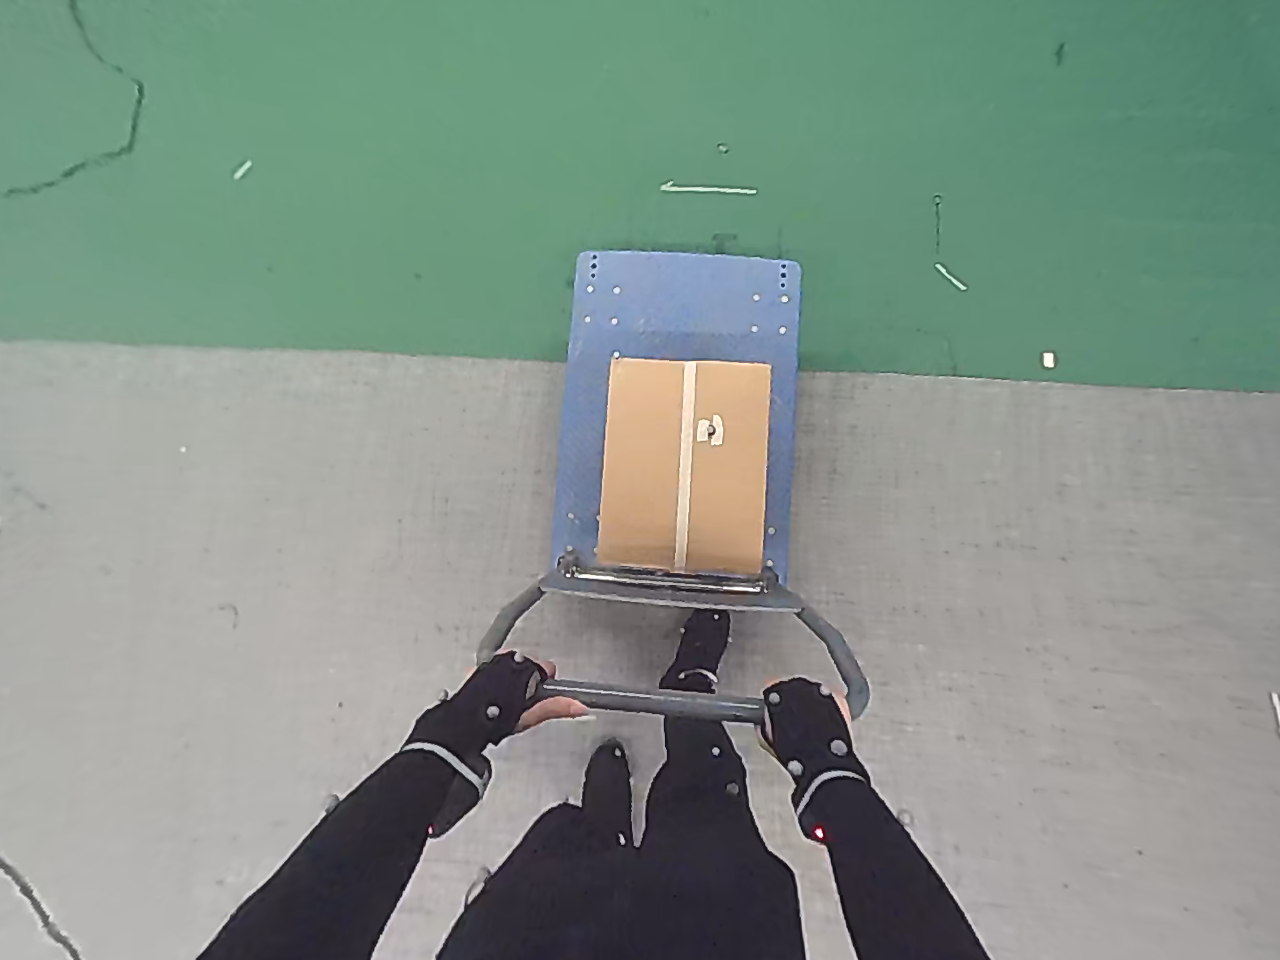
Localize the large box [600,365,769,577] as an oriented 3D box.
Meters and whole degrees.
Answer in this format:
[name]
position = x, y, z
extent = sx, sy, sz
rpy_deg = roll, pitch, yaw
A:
[large box]
position = 0.096, -0.008, 1.184
extent = 0.320, 0.320, 0.408
rpy_deg = 4, 85, 3
